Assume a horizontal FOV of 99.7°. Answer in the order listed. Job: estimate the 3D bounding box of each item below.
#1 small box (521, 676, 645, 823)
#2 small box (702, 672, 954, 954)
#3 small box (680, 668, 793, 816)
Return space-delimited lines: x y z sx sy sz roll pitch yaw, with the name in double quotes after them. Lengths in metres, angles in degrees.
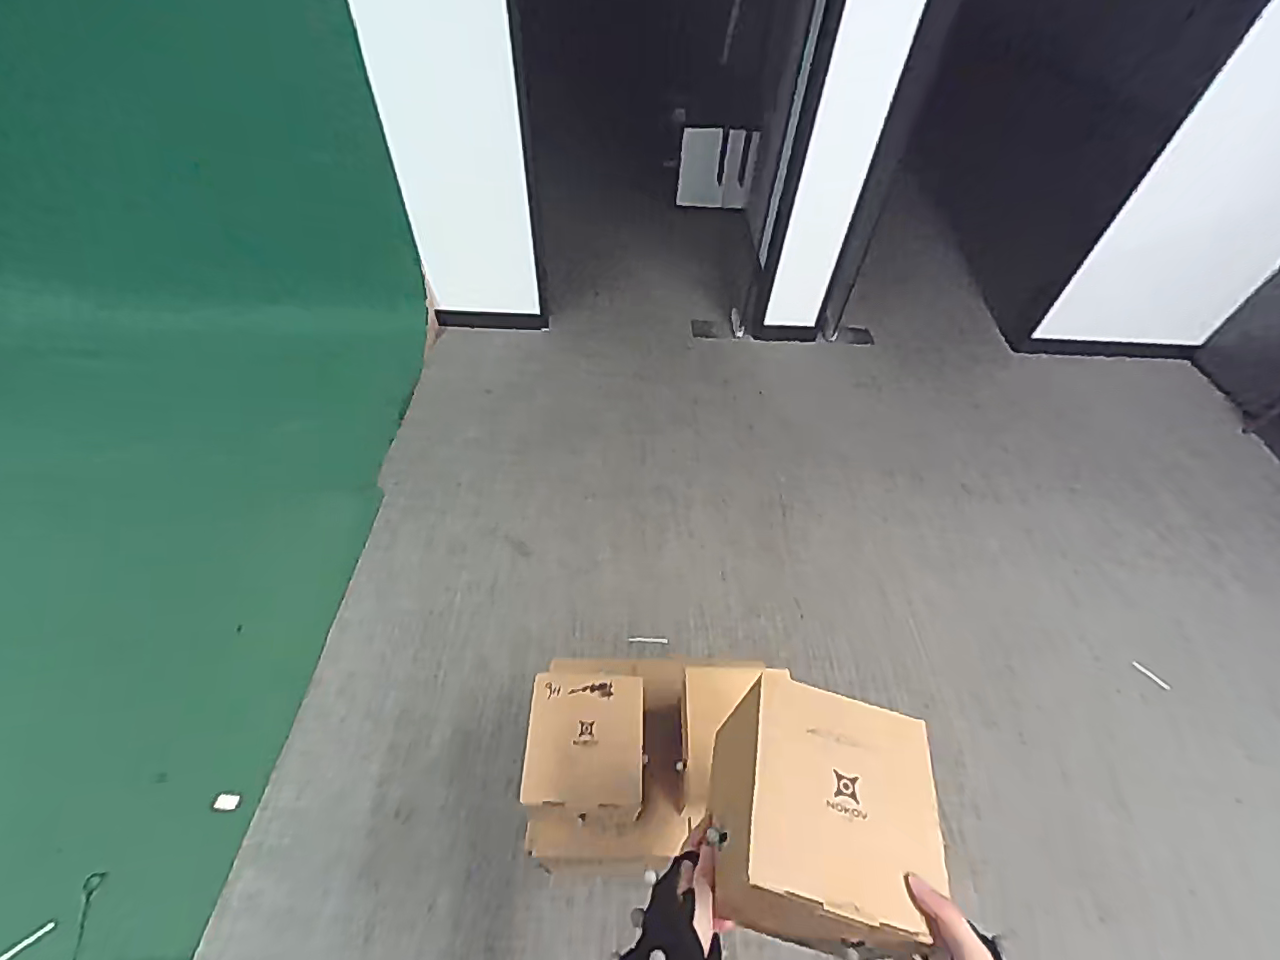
-0.080 0.418 0.831 0.168 0.176 0.179 3 52 -2 "small box"
0.165 0.324 0.524 0.168 0.176 0.179 16 45 2 "small box"
0.152 0.413 0.846 0.168 0.176 0.179 1 51 -1 "small box"
